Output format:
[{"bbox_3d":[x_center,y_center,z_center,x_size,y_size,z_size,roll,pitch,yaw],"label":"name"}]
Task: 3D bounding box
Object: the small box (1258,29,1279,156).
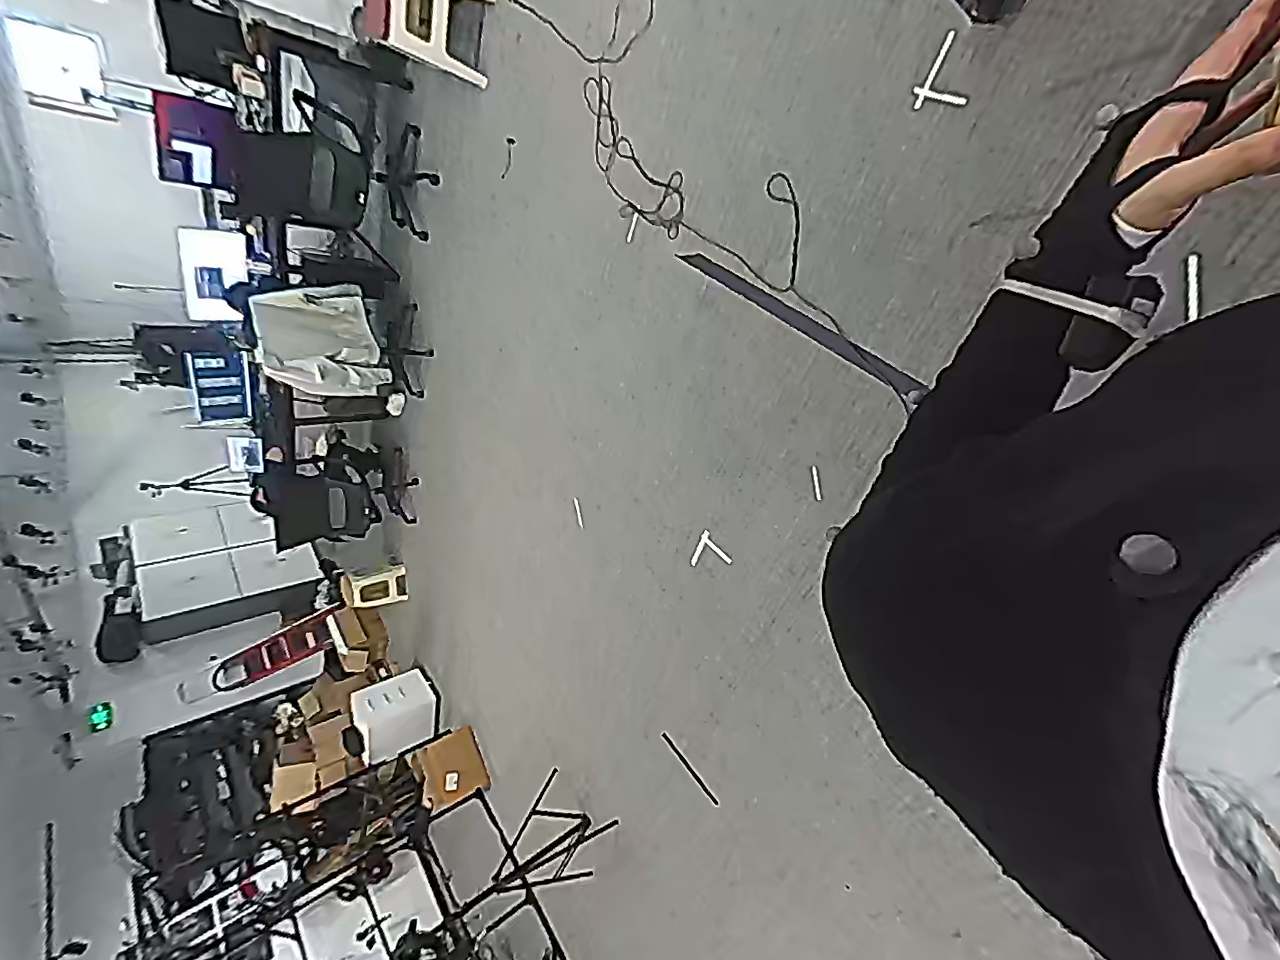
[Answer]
[{"bbox_3d":[0.452,-0.277,0.266,0.179,0.176,0.168,11,115,44],"label":"small box"}]
